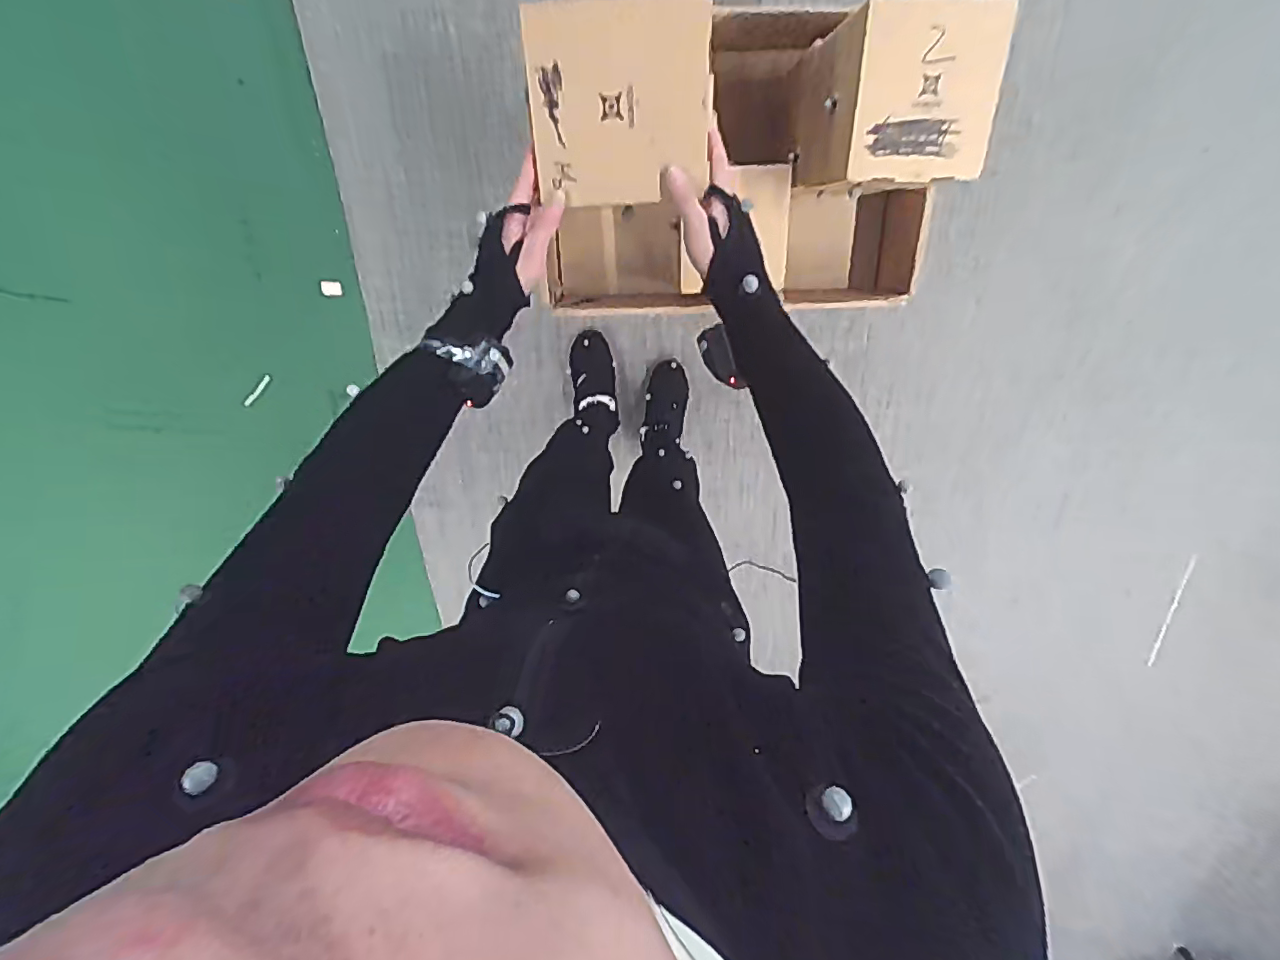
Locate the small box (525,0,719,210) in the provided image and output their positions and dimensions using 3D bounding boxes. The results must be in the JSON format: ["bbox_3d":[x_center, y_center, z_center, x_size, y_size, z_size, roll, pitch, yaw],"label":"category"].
[{"bbox_3d":[-0.016,-0.387,0.586,0.179,0.176,0.168,-2,116,0],"label":"small box"}]
